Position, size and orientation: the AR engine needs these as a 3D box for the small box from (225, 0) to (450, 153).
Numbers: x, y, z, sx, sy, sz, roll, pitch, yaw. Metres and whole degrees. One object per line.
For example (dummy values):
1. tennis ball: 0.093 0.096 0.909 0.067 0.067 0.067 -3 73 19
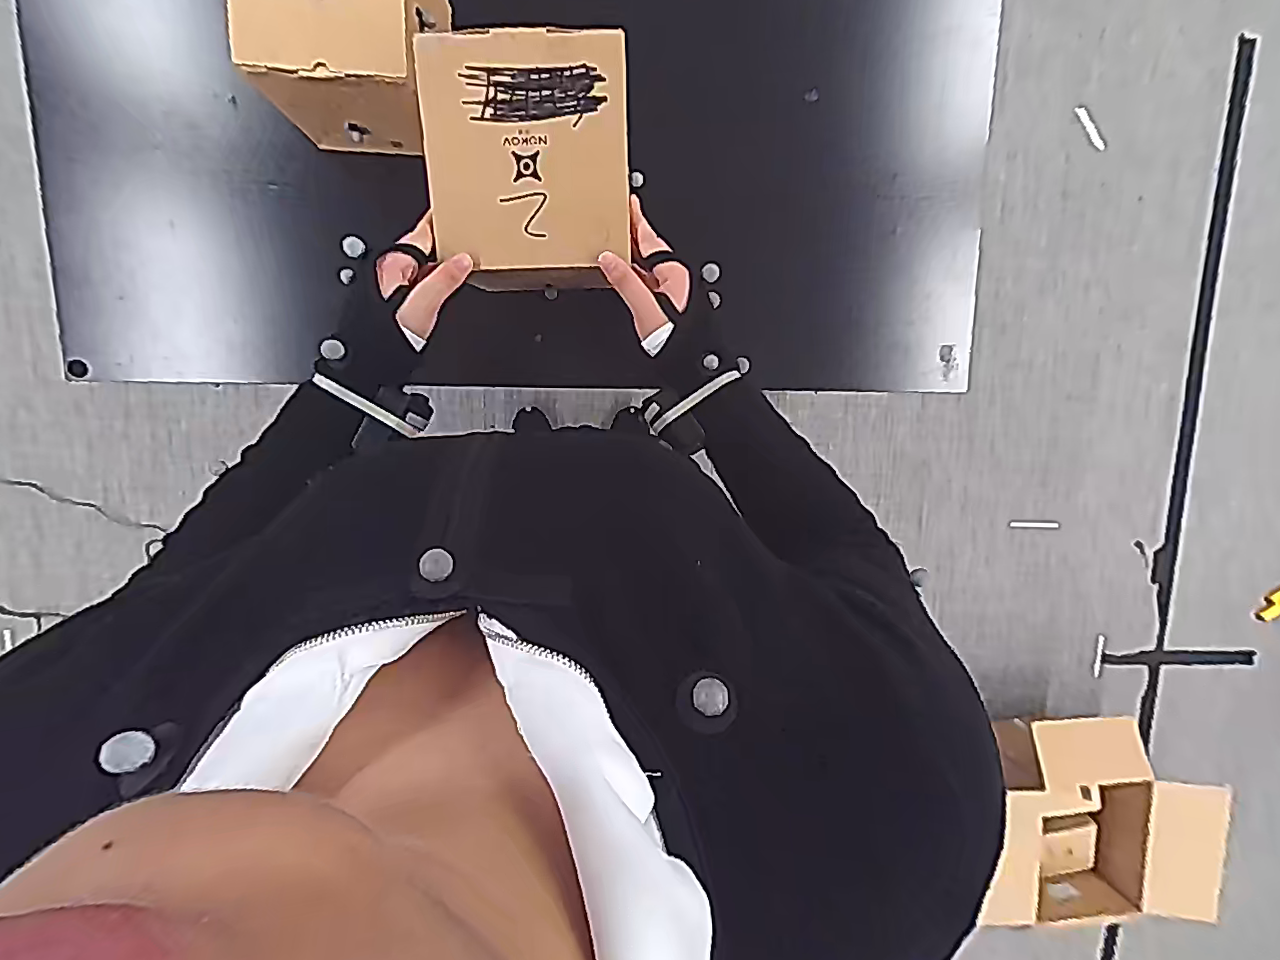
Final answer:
1. small box: -0.314 -0.493 0.590 0.168 0.176 0.179 1 98 -5
